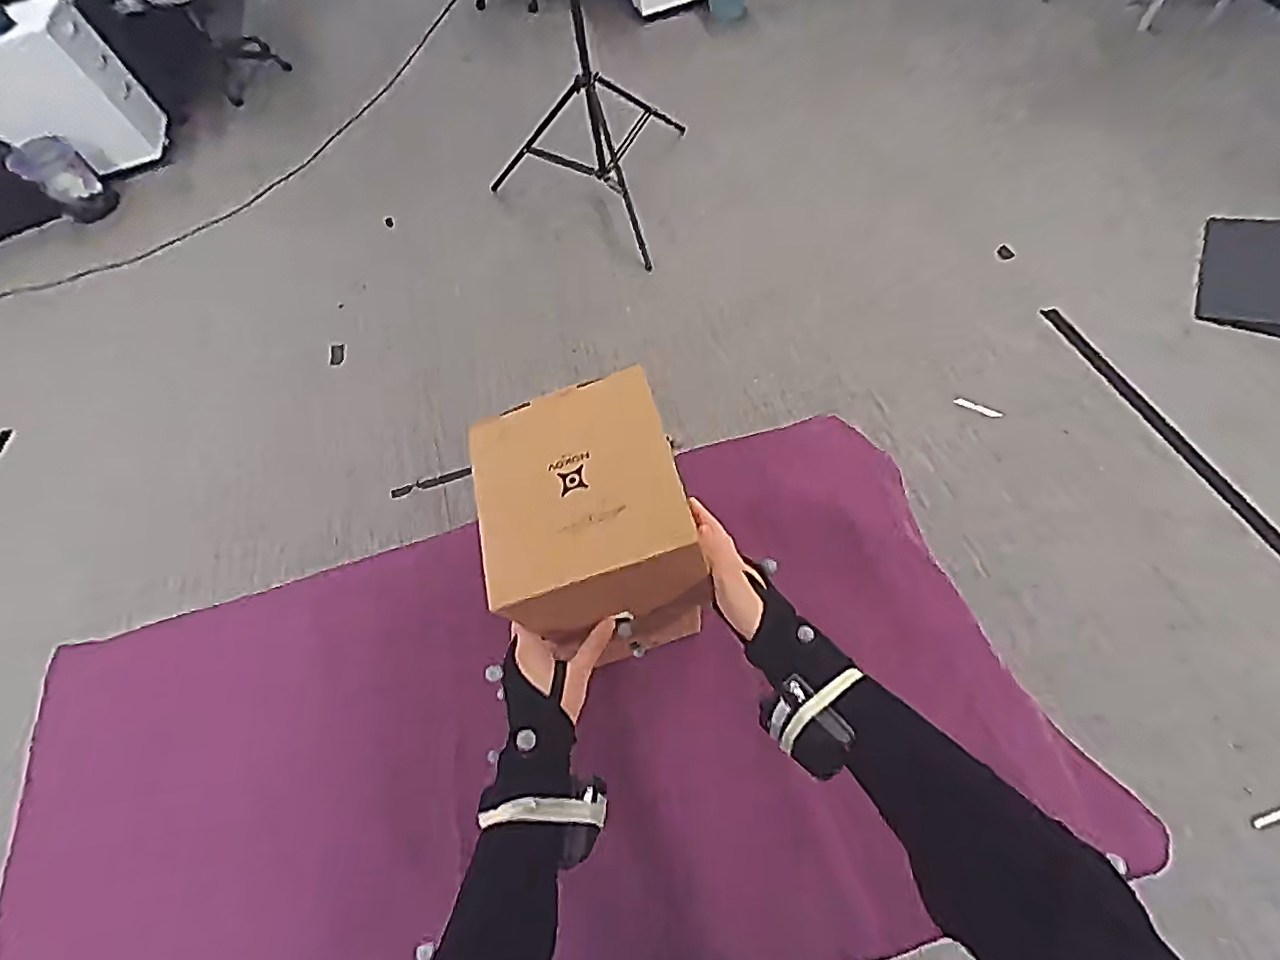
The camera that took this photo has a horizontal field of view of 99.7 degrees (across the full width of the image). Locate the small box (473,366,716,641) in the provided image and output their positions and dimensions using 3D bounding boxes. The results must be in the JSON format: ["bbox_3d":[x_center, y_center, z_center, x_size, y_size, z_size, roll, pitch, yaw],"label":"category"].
[{"bbox_3d":[-0.035,0.031,0.502,0.168,0.176,0.179,-18,62,4],"label":"small box"}]

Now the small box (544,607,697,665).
[{"bbox_3d":[-0.034,0.109,0.668,0.168,0.176,0.179,-19,63,-2],"label":"small box"}]
